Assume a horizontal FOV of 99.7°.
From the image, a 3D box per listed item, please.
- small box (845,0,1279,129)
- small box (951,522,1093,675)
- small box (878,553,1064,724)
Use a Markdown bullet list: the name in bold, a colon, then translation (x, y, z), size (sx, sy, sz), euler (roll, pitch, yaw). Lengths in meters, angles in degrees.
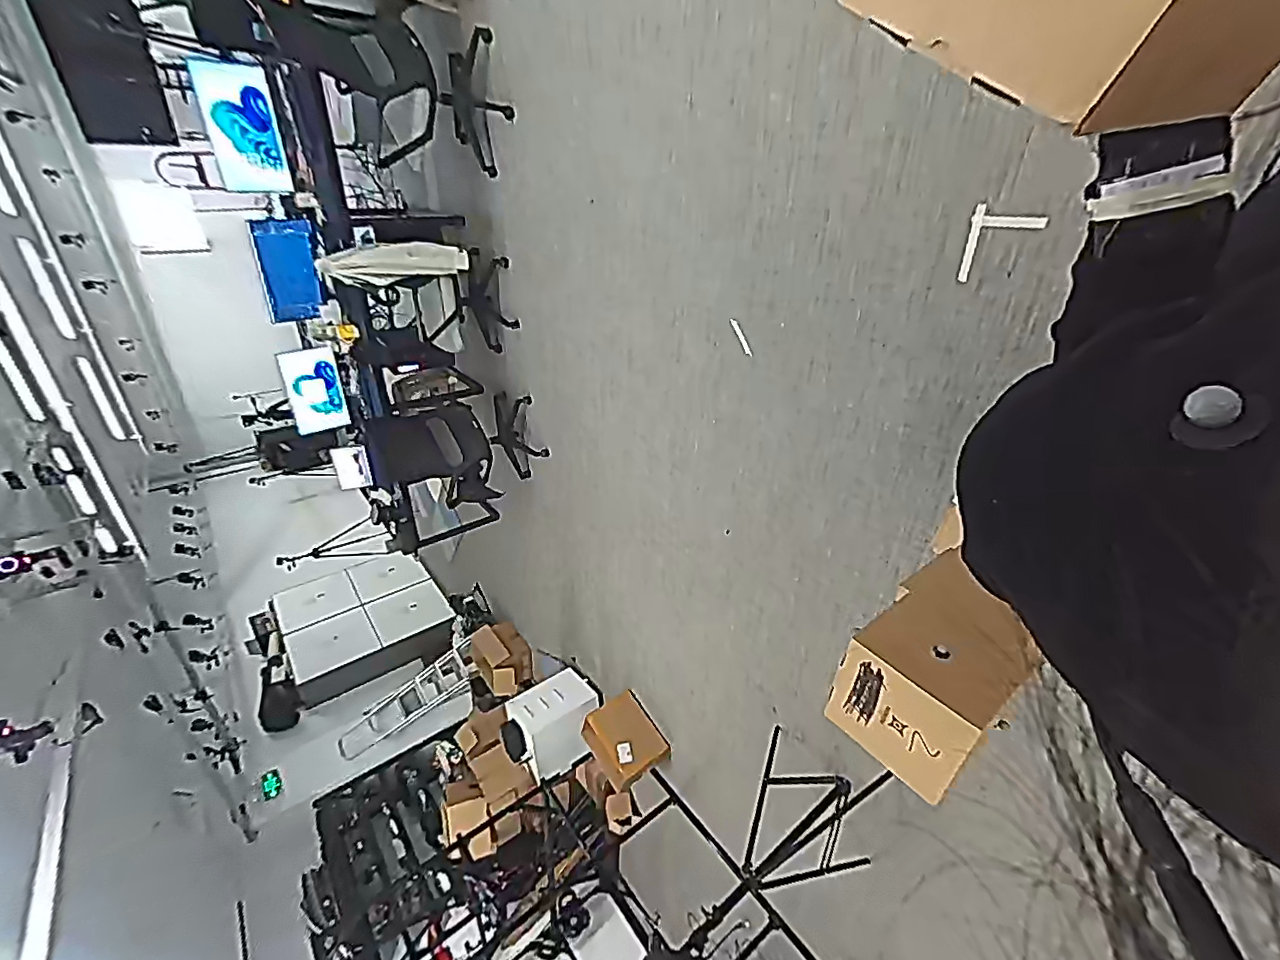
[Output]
- **small box**: translation (0.233, -0.290, 0.233), size (0.168, 0.176, 0.179), euler (57, 155, 26)
- **small box**: translation (0.653, 0.195, 0.947), size (0.168, 0.176, 0.179), euler (26, 128, 48)
- **small box**: translation (0.520, 0.237, 0.861), size (0.179, 0.176, 0.168), euler (33, 132, 44)
